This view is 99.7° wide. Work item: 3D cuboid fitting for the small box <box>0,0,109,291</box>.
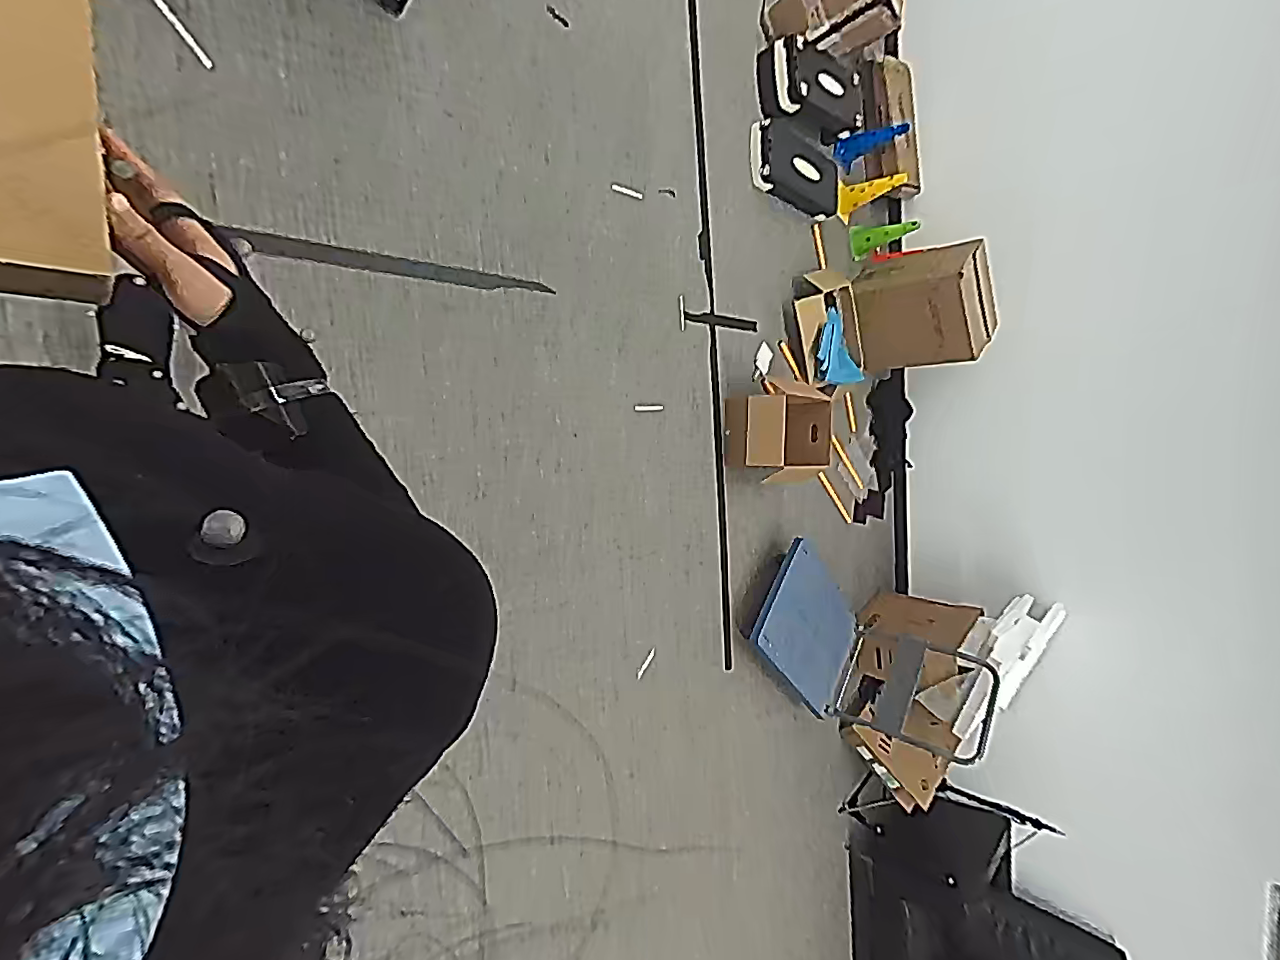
[{"bbox_3d":[-0.433,-0.220,0.319,0.168,0.176,0.179,-5,101,-46],"label":"small box"}]
